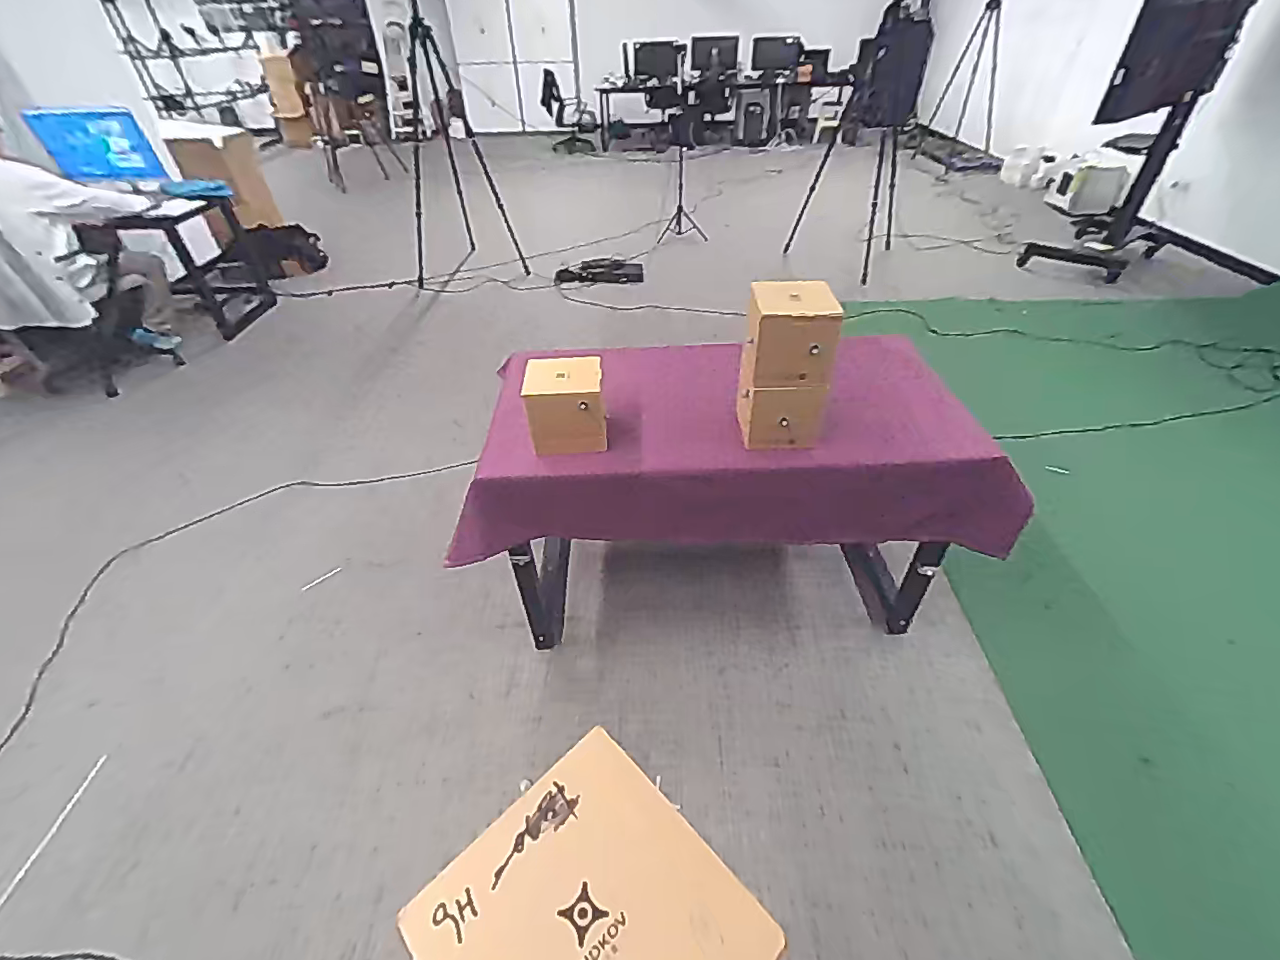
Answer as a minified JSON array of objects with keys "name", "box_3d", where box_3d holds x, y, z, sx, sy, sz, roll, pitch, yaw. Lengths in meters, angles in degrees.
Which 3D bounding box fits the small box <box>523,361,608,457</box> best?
[{"name":"small box","box_3d":[-0.170,-0.168,1.295,0.179,0.176,0.168,-3,40,-1]}]

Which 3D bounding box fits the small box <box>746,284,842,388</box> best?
[{"name":"small box","box_3d":[0.326,-0.311,1.179,0.168,0.176,0.179,0,40,3]}]

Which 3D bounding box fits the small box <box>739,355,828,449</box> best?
[{"name":"small box","box_3d":[0.332,-0.184,1.281,0.168,0.176,0.179,-1,40,1]}]
